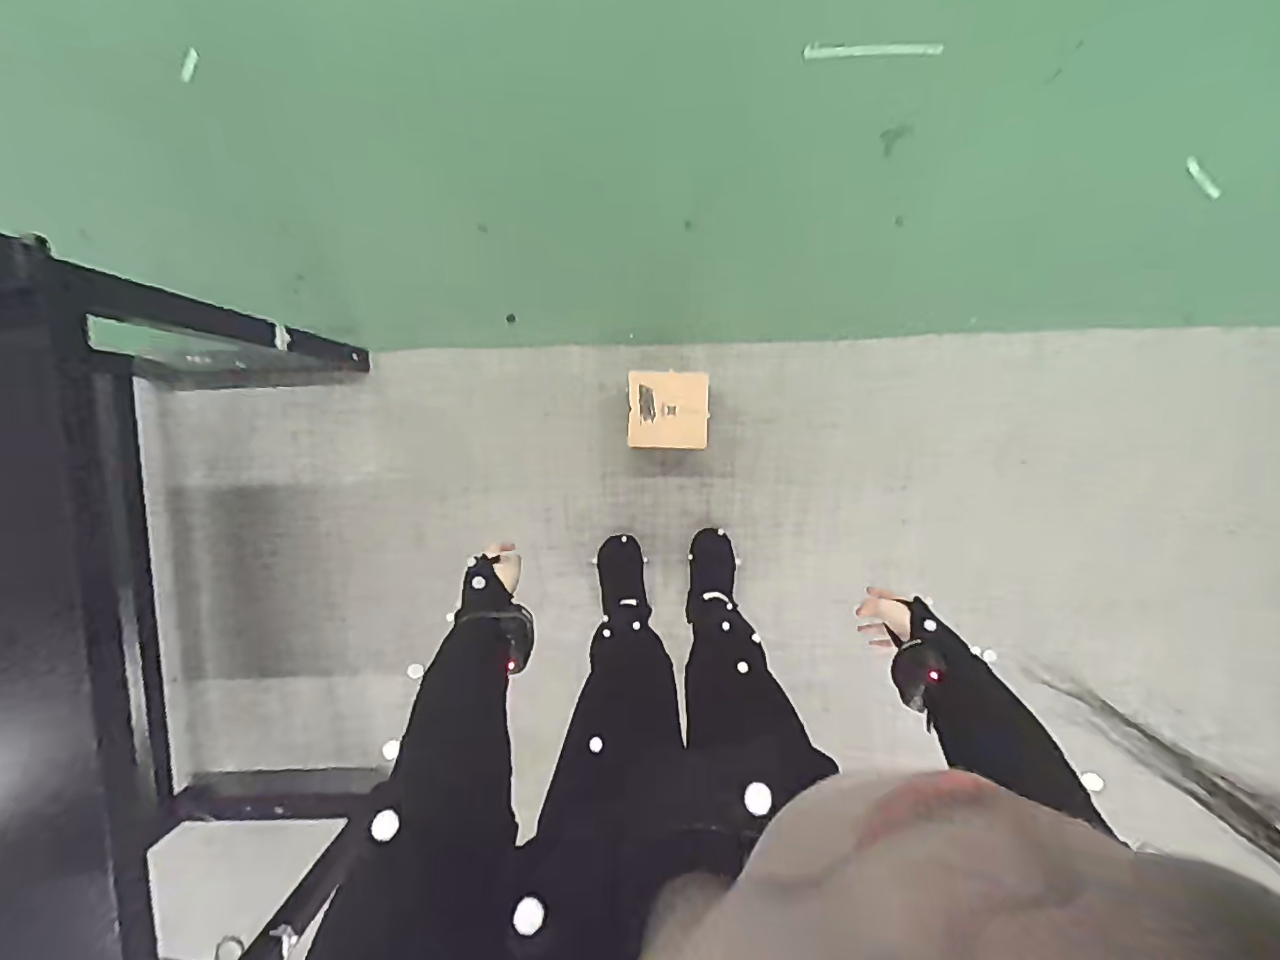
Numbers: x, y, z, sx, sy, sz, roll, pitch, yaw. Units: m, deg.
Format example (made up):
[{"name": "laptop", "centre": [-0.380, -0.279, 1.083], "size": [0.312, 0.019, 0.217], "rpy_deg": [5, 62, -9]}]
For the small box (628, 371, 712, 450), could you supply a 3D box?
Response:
[{"name": "small box", "centre": [0.067, -0.155, 1.237], "size": [0.179, 0.176, 0.168], "rpy_deg": [2, 95, 1]}]
